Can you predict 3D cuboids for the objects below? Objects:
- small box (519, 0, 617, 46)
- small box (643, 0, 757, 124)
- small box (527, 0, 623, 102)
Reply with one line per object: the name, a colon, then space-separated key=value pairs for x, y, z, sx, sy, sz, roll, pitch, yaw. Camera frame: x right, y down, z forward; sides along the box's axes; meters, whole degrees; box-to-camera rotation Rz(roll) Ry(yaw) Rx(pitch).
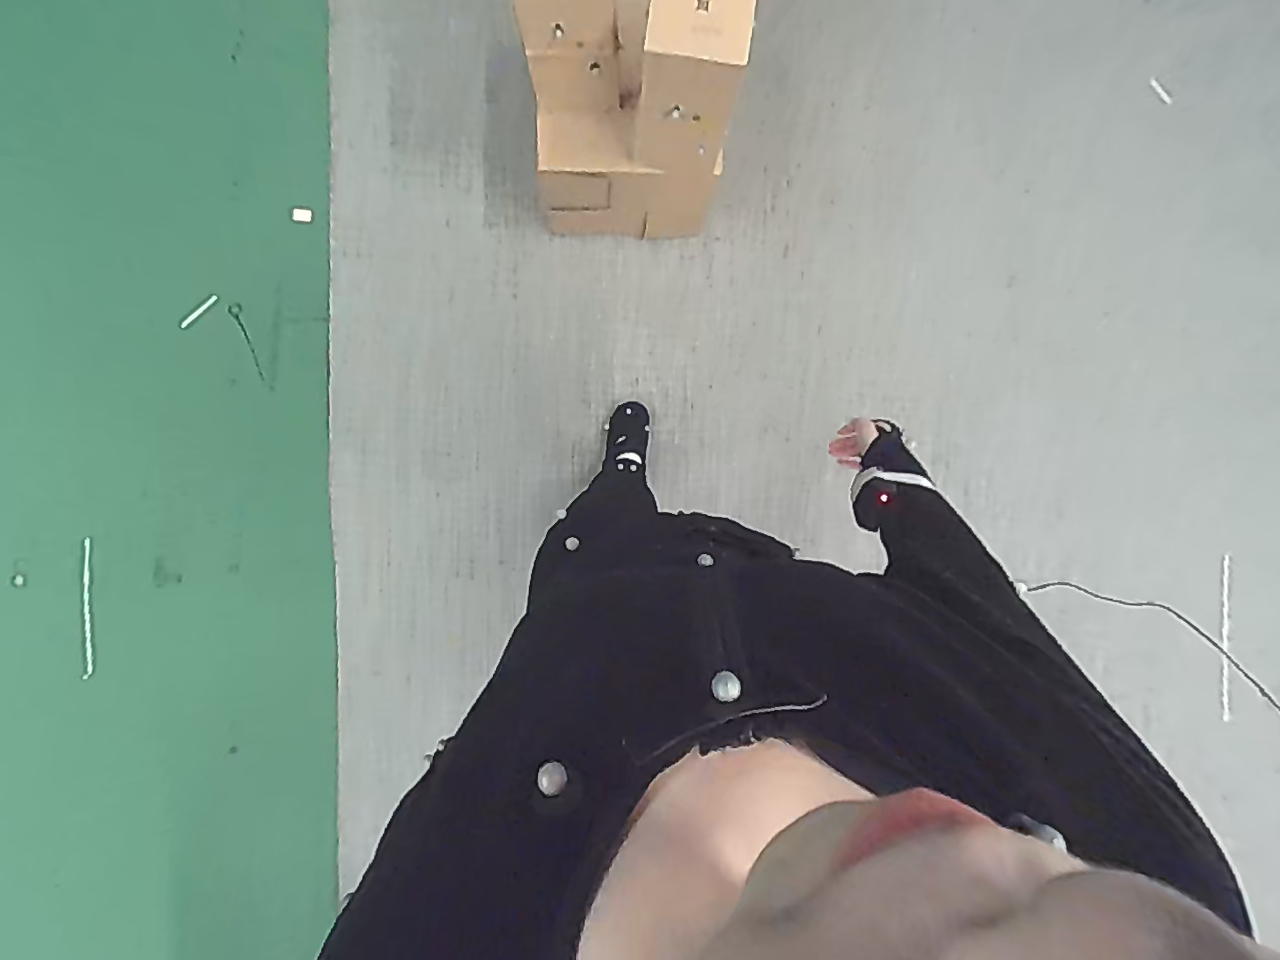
small box: x=-0.123 y=-0.883 z=0.906 sx=0.168 sy=0.176 sz=0.179 roll=1 pitch=91 yaw=-1
small box: x=0.097 y=-0.752 z=0.912 sx=0.168 sy=0.176 sz=0.179 roll=8 pitch=91 yaw=-2
small box: x=-0.124 y=-0.885 z=1.070 sx=0.179 sy=0.176 sz=0.168 roll=-1 pitch=89 yaw=-1
